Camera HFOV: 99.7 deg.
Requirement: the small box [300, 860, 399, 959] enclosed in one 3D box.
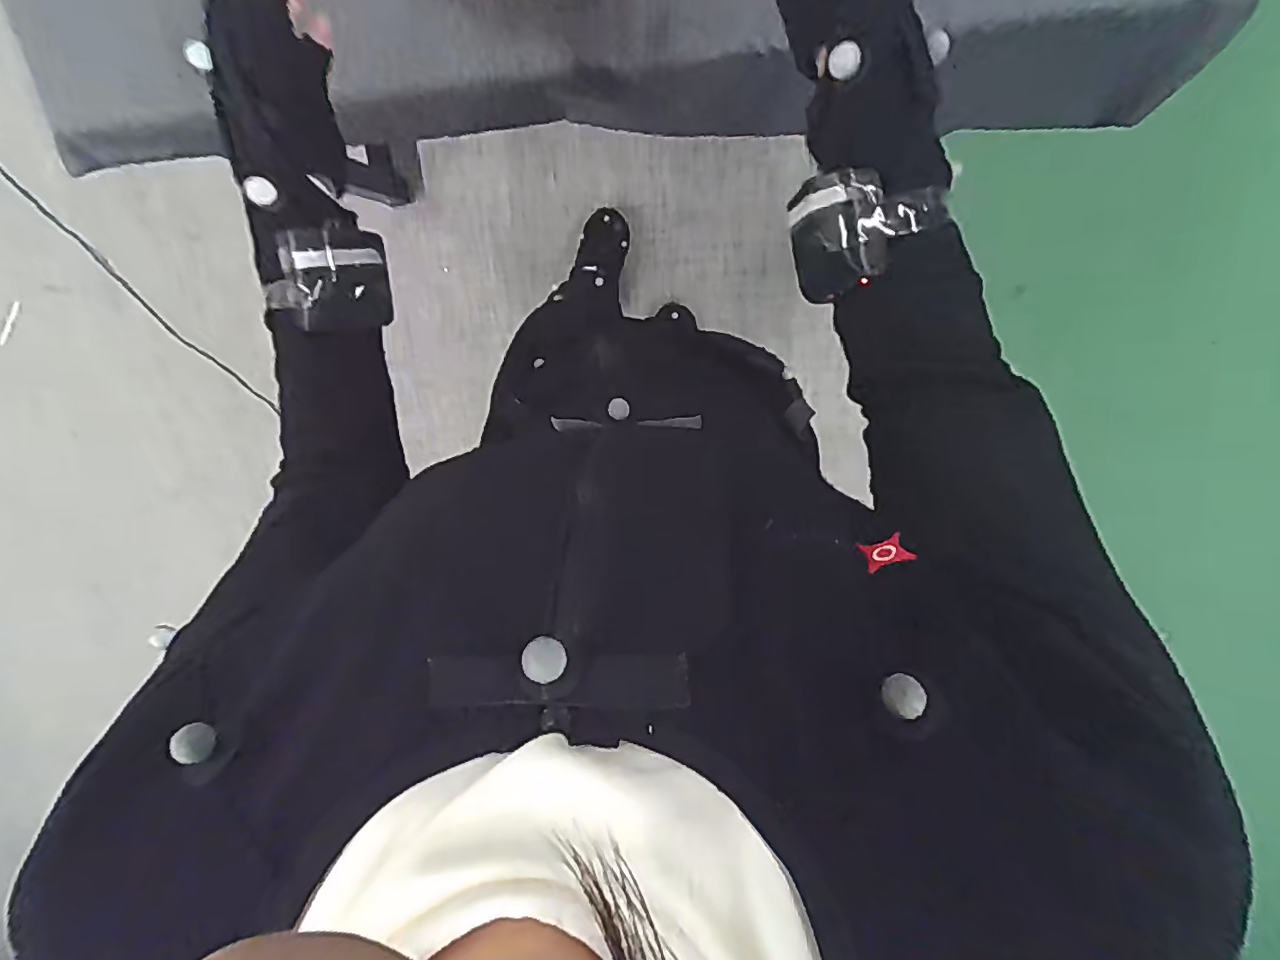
[{"bbox_3d":[-0.825,1.249,1.551,0.168,0.176,0.179,29,106,-7],"label":"small box"}]
